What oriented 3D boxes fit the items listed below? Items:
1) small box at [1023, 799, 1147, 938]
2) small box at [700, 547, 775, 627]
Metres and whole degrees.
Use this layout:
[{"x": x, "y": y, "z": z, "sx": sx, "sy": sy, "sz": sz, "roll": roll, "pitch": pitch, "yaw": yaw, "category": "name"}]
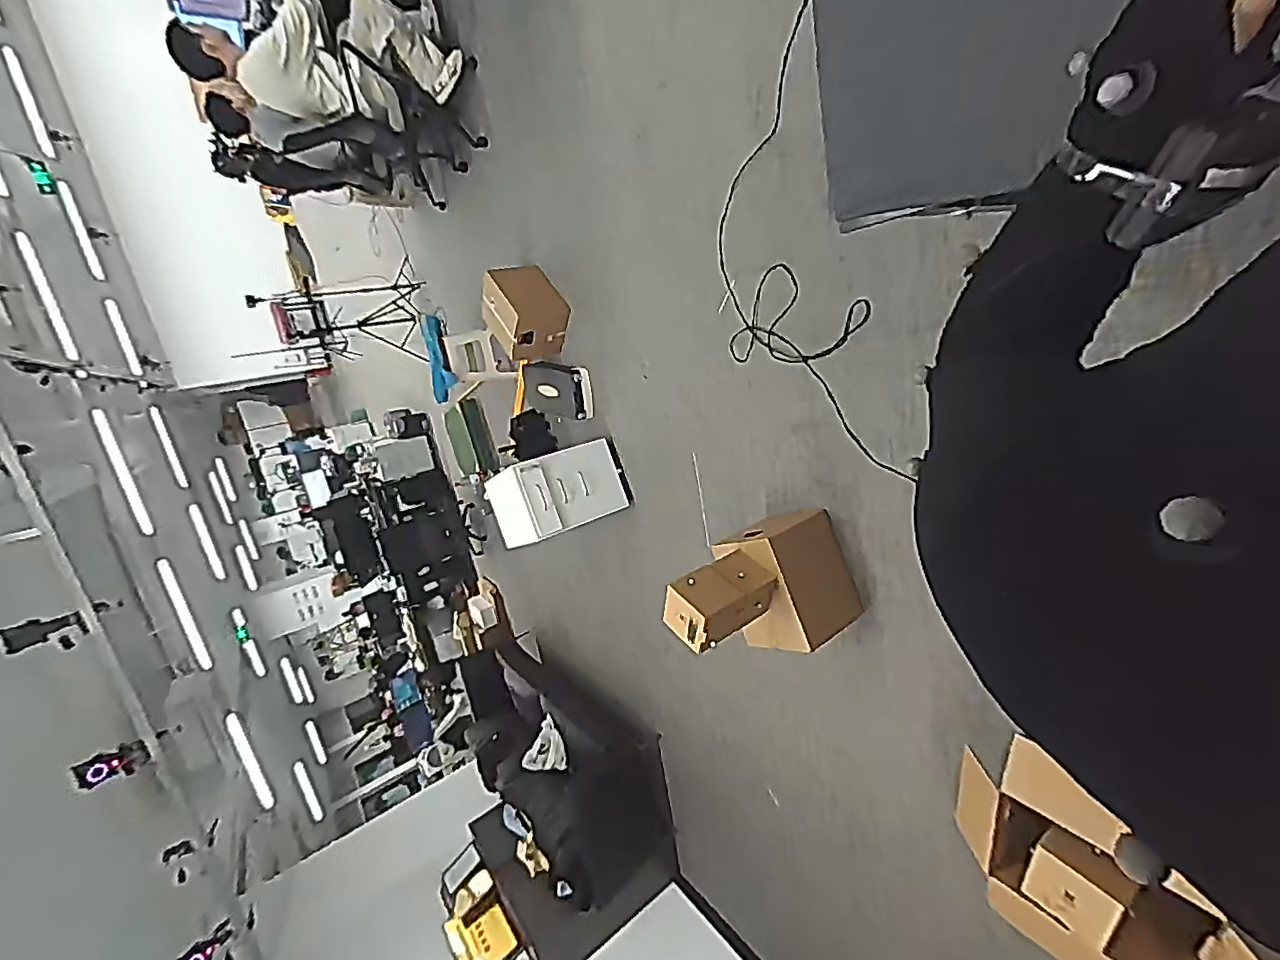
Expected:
[{"x": 1.059, "y": 0.913, "z": 1.287, "sx": 0.168, "sy": 0.176, "sz": 0.179, "roll": 28, "pitch": 129, "yaw": 50, "category": "small box"}, {"x": 0.331, "y": 0.354, "z": 1.831, "sx": 0.179, "sy": 0.176, "sz": 0.168, "roll": 35, "pitch": 134, "yaw": 39, "category": "small box"}]
